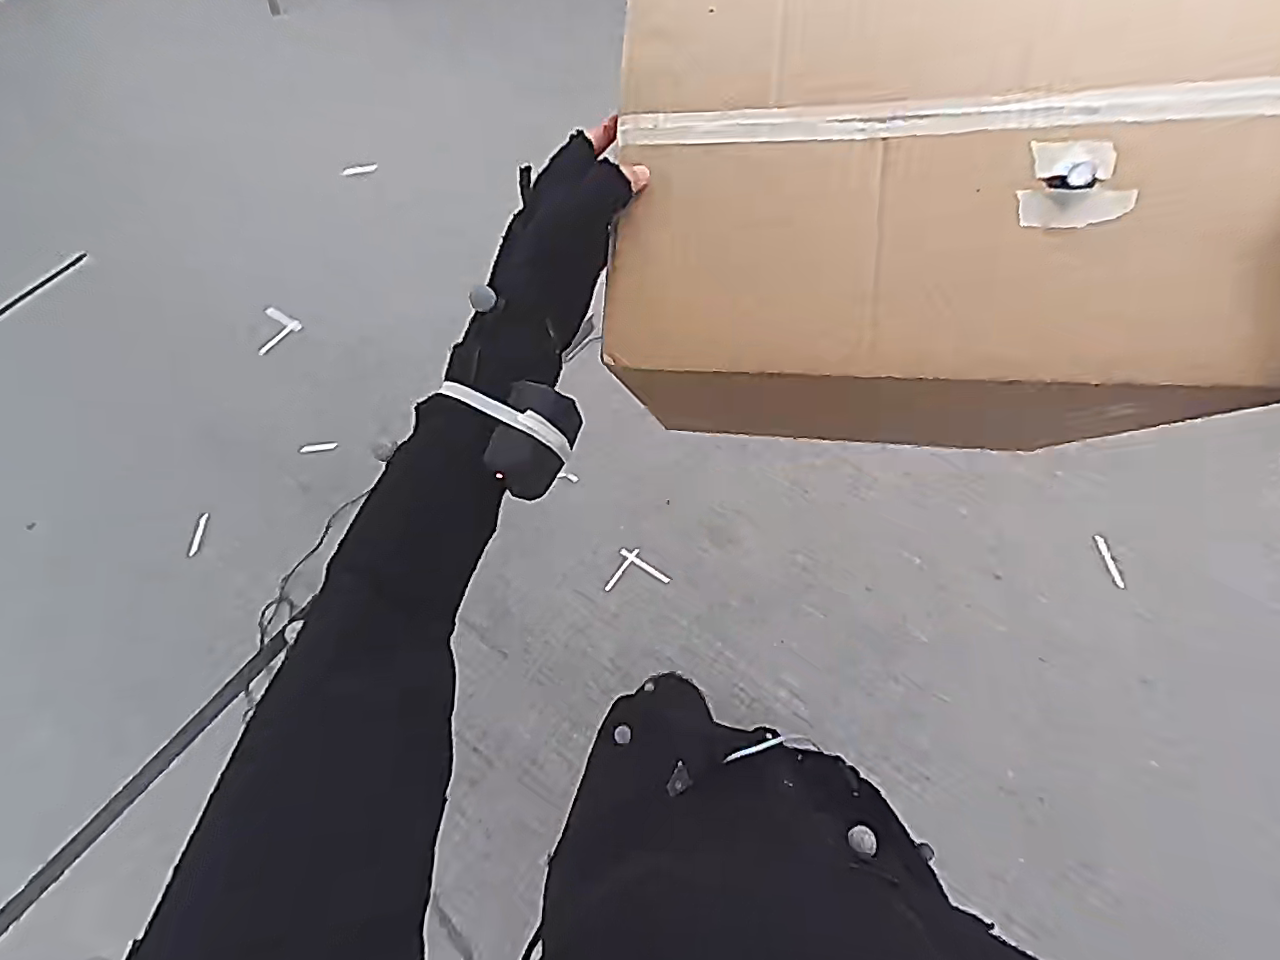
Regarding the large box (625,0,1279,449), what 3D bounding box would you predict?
[{"bbox_3d":[0.215,-0.200,0.489,0.408,0.320,0.320,4,89,10],"label":"large box"}]
